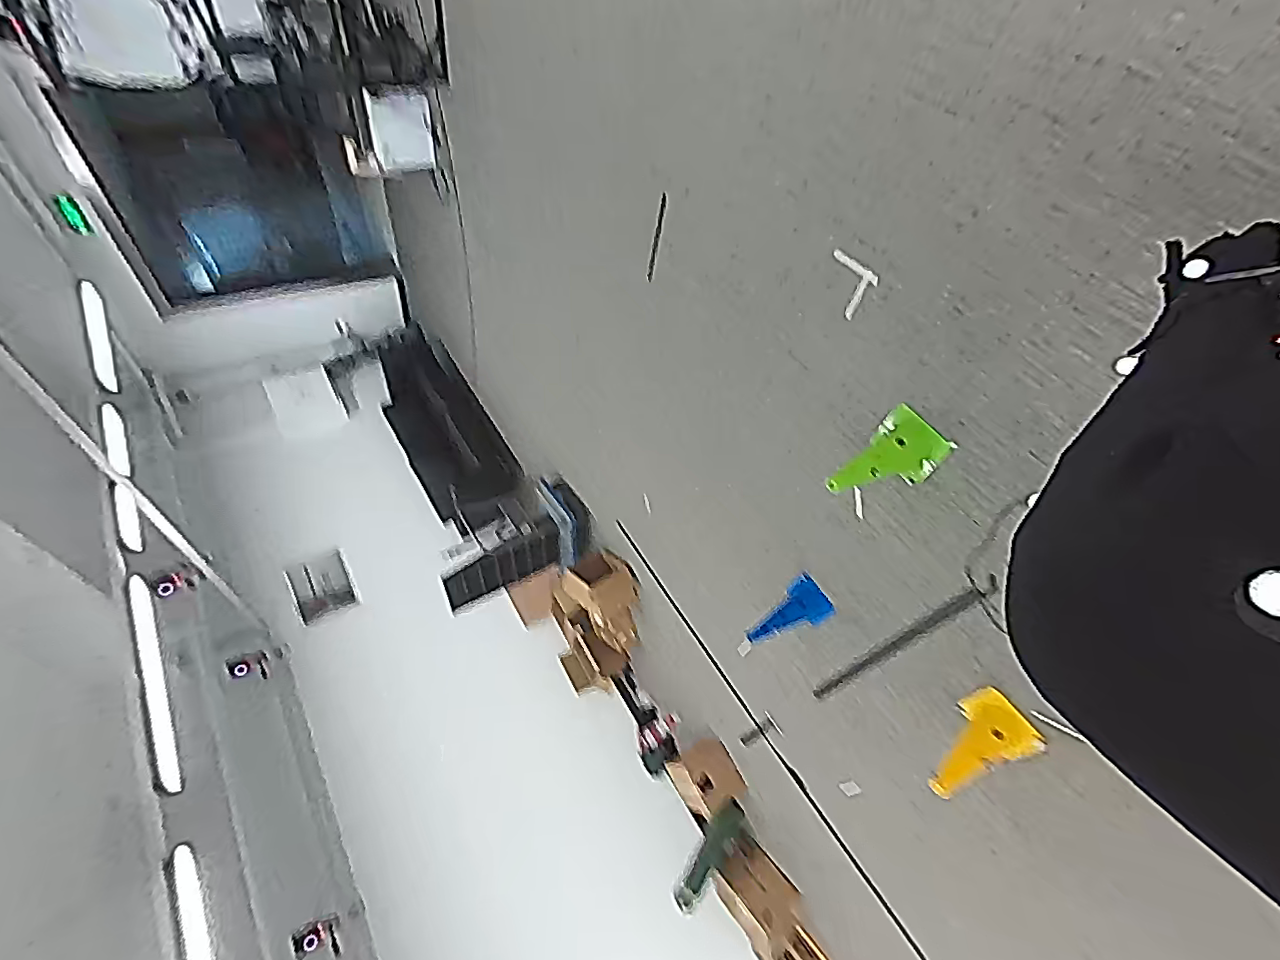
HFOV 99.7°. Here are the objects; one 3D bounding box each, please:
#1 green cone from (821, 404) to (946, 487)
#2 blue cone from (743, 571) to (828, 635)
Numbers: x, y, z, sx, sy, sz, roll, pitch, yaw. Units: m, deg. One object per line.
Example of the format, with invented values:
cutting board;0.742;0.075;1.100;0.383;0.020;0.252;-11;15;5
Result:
green cone;0.677;-0.055;1.593;0.202;0.368;0.200;55;151;26
blue cone;0.589;0.560;2.270;0.192;0.380;0.193;57;152;23
